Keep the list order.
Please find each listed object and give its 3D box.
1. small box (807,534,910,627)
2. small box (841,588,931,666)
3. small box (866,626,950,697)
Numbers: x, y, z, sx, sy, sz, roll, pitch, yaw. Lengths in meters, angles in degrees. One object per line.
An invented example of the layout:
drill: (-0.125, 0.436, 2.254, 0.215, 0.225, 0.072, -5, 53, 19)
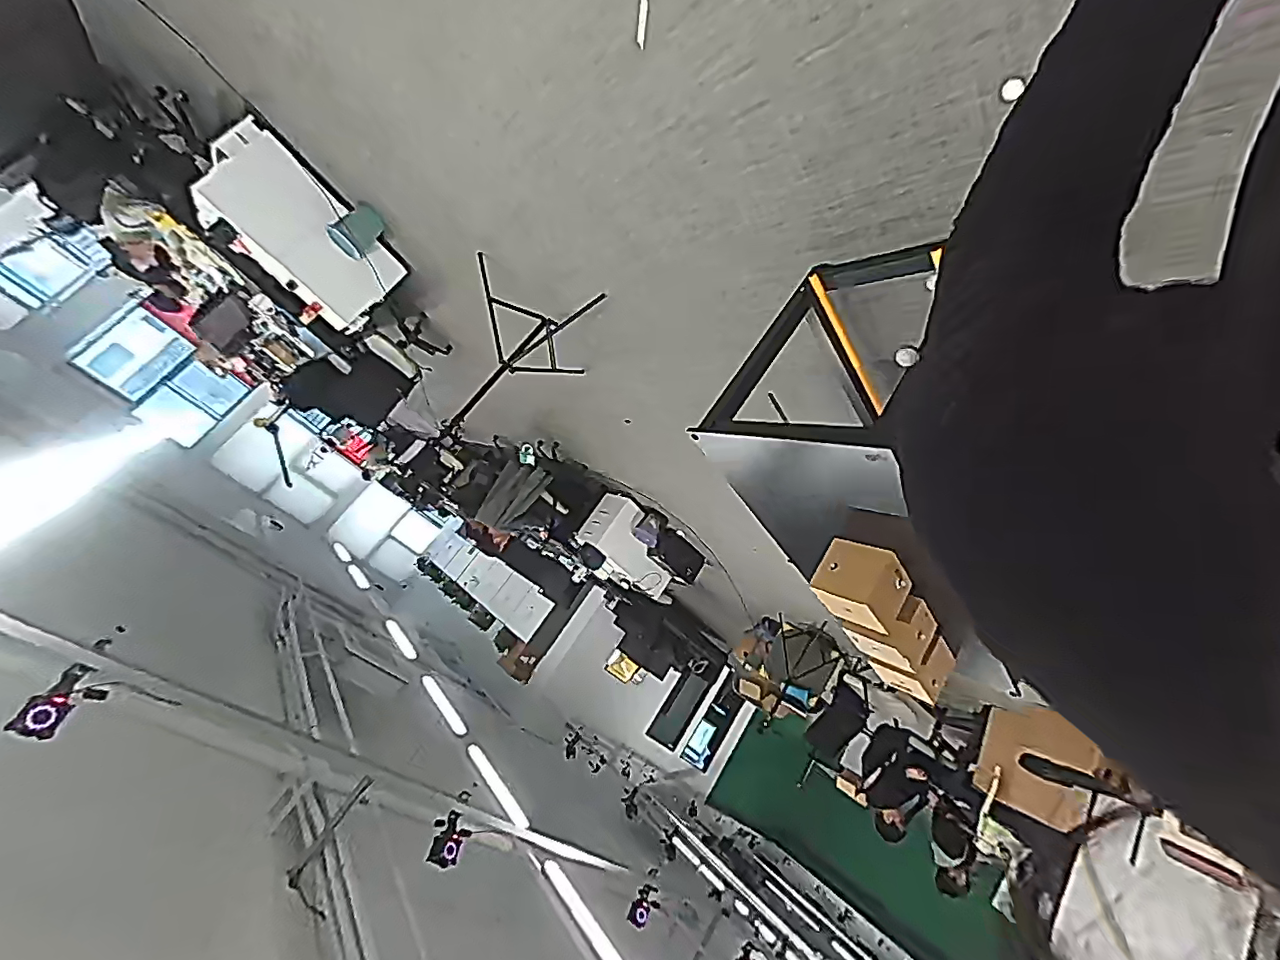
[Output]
small box: (0.600, 0.268, 1.481, 0.168, 0.176, 0.179, 45, 161, -32)
small box: (0.738, 0.416, 1.607, 0.179, 0.176, 0.168, 13, 151, 52)
small box: (0.867, 0.558, 1.739, 0.168, 0.176, 0.179, 13, 151, 52)
